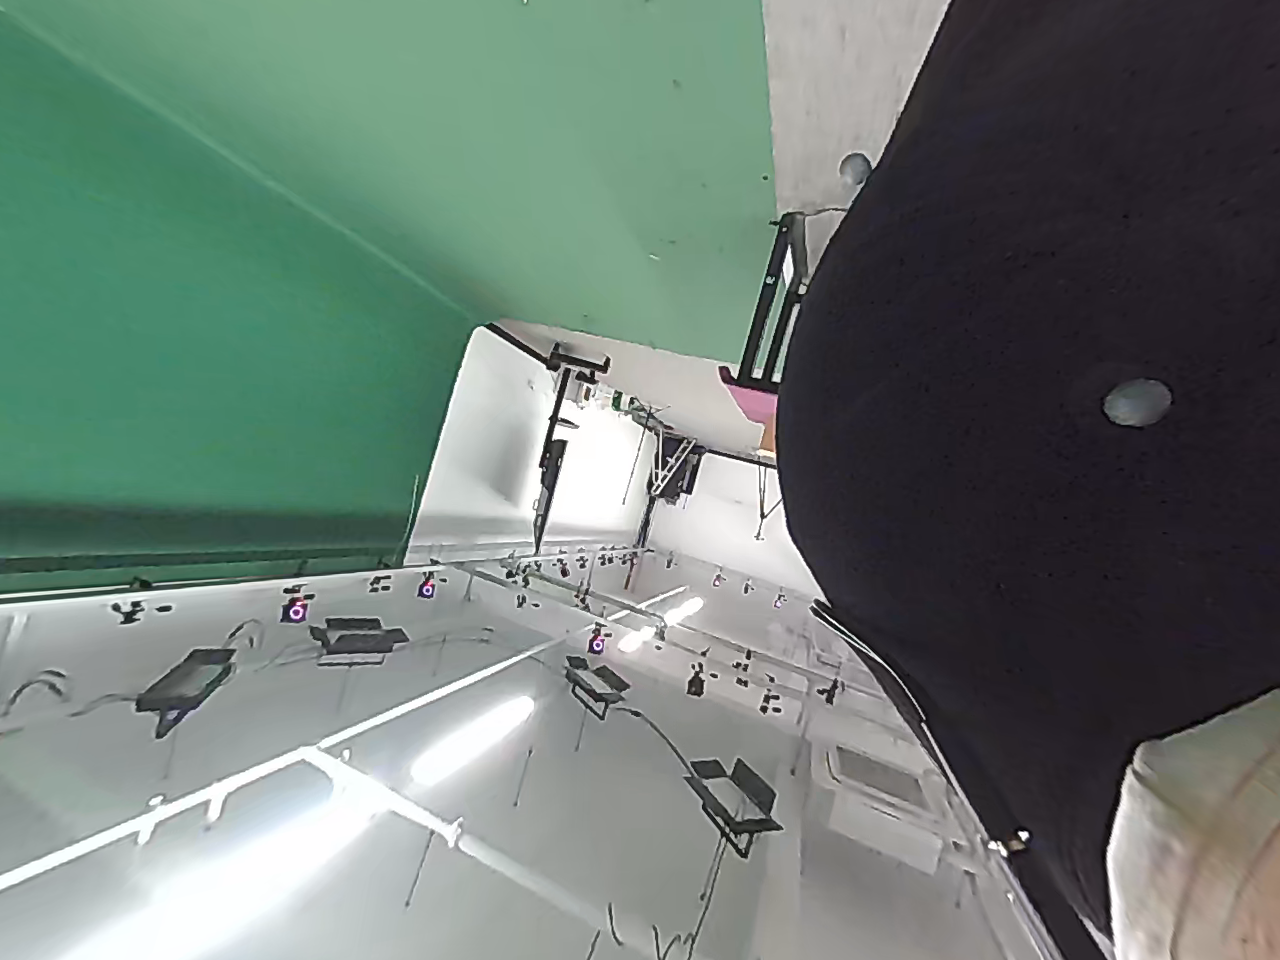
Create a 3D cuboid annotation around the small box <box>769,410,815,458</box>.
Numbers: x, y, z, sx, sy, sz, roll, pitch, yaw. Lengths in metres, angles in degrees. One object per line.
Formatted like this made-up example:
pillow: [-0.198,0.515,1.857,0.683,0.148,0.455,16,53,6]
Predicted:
small box: [0.696,-0.207,2.458,0.168,0.176,0.179,15,180,19]
